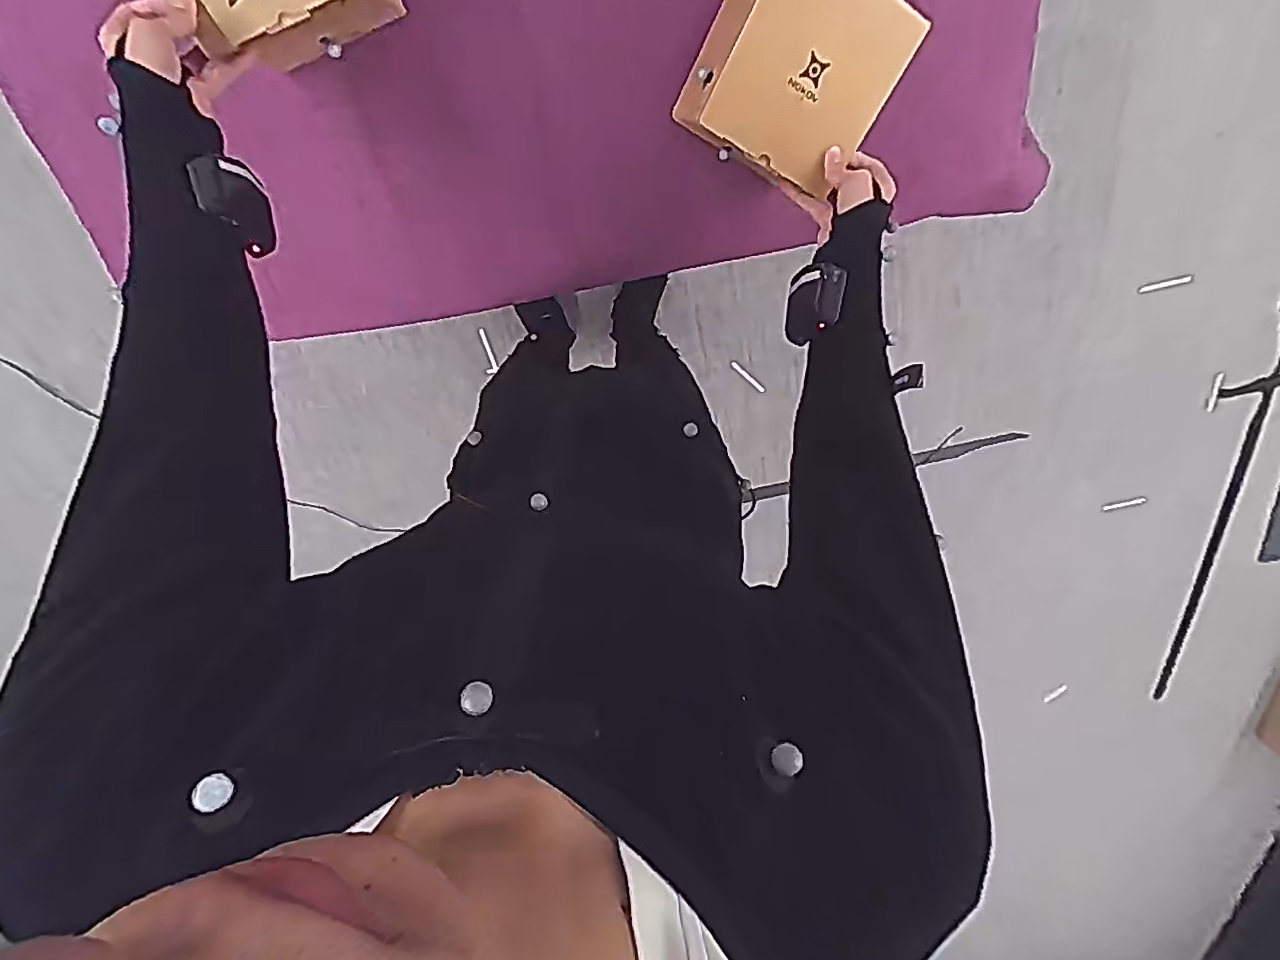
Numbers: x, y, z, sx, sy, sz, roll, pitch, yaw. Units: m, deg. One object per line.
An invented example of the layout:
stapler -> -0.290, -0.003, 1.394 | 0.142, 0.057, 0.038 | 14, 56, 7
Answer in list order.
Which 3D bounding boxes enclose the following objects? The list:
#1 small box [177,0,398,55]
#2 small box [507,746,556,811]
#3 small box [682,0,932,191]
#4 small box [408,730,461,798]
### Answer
small box -> -0.357, -0.533, 0.501 | 0.168, 0.176, 0.179 | -20, 125, 5
small box -> -0.451, 1.248, 2.263 | 0.168, 0.176, 0.179 | 15, 115, -13
small box -> 0.161, -0.454, 0.590 | 0.168, 0.176, 0.179 | 20, 121, -20
small box -> -0.820, 1.138, 2.168 | 0.168, 0.176, 0.179 | 9, 117, -10
